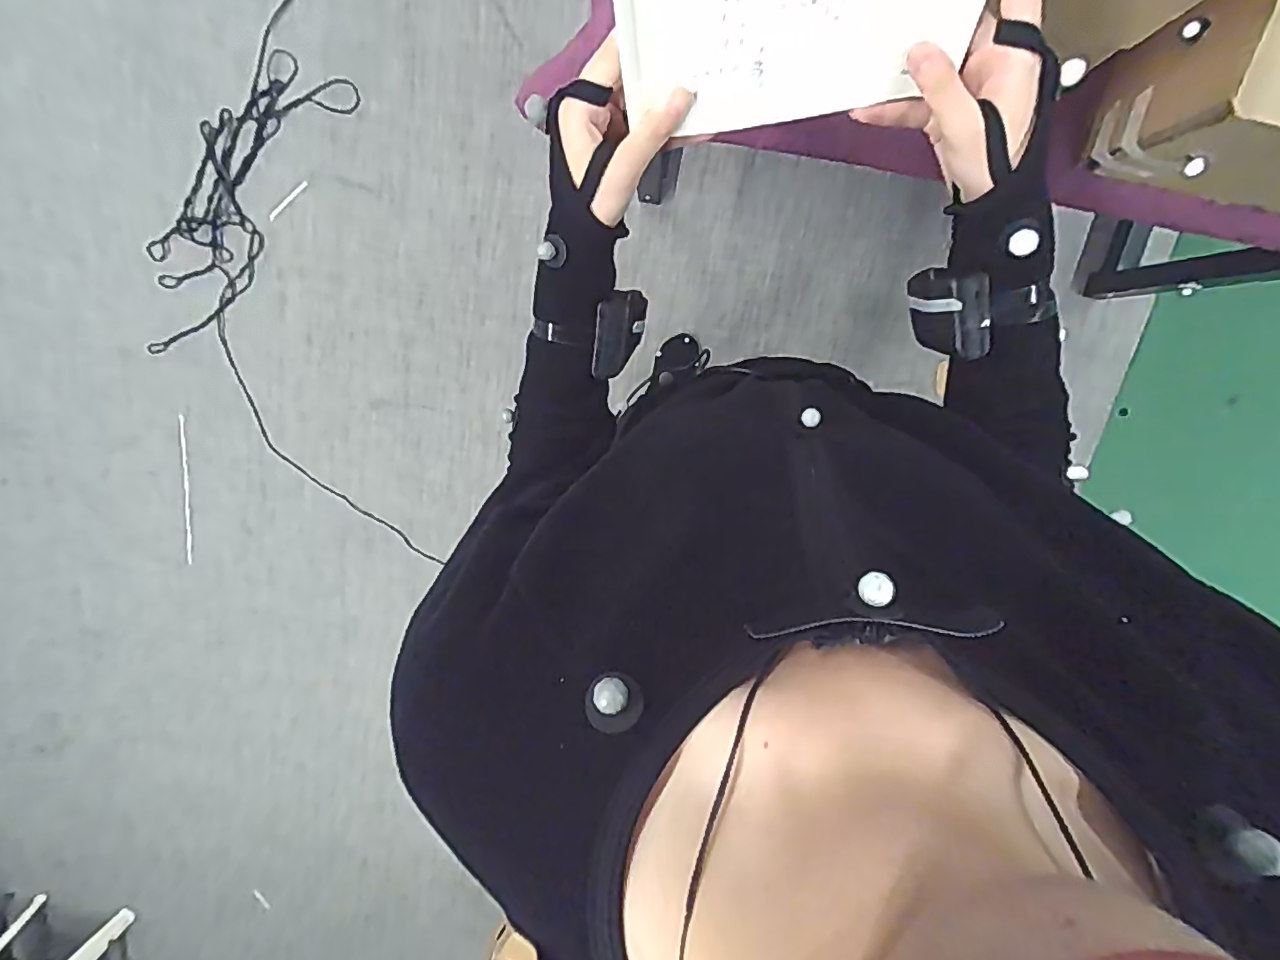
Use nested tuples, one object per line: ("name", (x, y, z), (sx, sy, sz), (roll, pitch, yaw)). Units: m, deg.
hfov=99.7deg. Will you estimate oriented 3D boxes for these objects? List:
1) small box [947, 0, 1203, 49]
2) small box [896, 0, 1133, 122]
("small box", (0.371, -0.460, 0.393), (0.179, 0.176, 0.168), (13, 102, 0))
("small box", (0.388, -0.504, 0.551), (0.168, 0.176, 0.179), (13, 102, 0))
